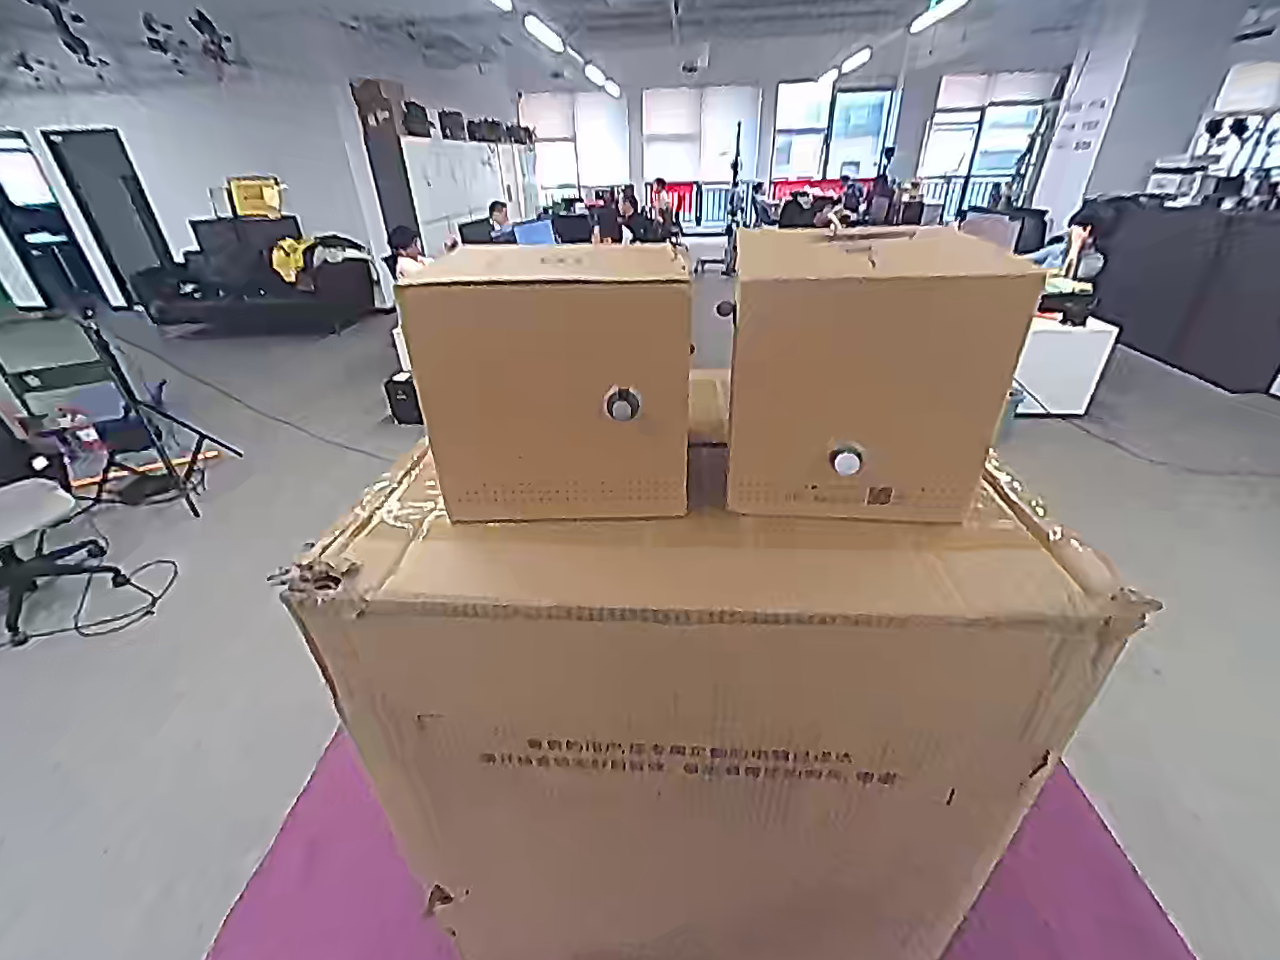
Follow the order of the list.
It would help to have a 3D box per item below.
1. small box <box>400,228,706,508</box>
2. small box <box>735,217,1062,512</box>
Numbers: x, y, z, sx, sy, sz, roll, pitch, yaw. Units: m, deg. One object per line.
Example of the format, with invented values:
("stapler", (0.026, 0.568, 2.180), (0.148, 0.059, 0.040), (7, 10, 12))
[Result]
("small box", (-0.050, -0.090, 0.413), (0.179, 0.176, 0.168), (-2, 29, -1))
("small box", (0.159, -0.096, 0.408), (0.168, 0.176, 0.179), (2, 32, 9))
